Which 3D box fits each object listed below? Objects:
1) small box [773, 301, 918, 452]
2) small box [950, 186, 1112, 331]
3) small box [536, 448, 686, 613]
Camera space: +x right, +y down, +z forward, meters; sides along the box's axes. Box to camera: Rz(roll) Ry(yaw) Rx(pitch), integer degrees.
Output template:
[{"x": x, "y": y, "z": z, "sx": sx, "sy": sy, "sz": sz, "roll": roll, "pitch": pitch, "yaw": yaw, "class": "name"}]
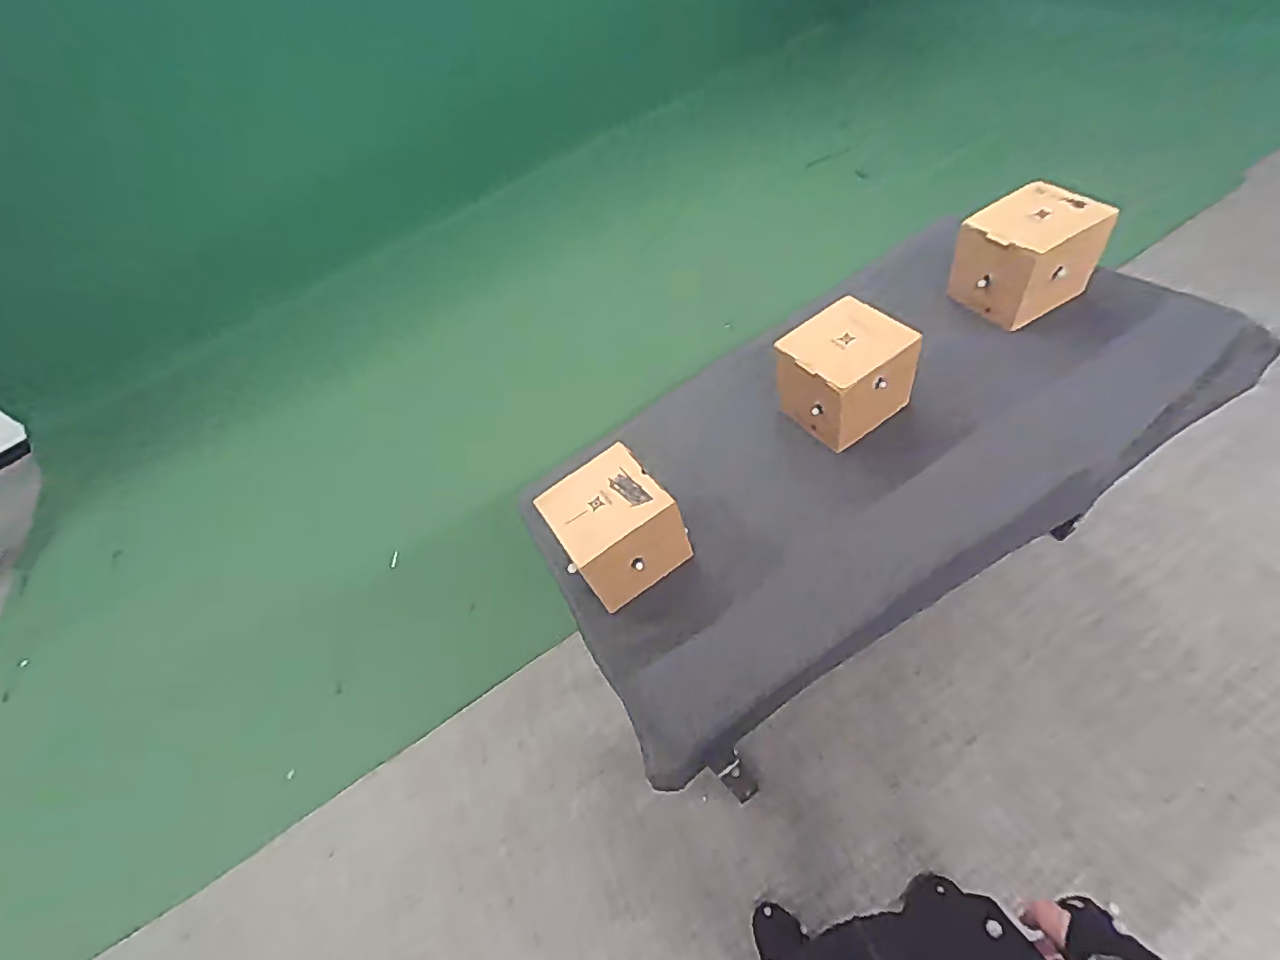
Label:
[{"x": 0.363, "y": -0.182, "z": 0.978, "sx": 0.179, "sy": 0.176, "sz": 0.168, "roll": -33, "pitch": 53, "yaw": -10, "class": "small box"}, {"x": 0.727, "y": -0.418, "z": 1.033, "sx": 0.179, "sy": 0.176, "sz": 0.168, "roll": -29, "pitch": 52, "yaw": -4, "class": "small box"}, {"x": -0.039, "y": 0.086, "z": 0.901, "sx": 0.179, "sy": 0.176, "sz": 0.168, "roll": -35, "pitch": 52, "yaw": -9, "class": "small box"}]
